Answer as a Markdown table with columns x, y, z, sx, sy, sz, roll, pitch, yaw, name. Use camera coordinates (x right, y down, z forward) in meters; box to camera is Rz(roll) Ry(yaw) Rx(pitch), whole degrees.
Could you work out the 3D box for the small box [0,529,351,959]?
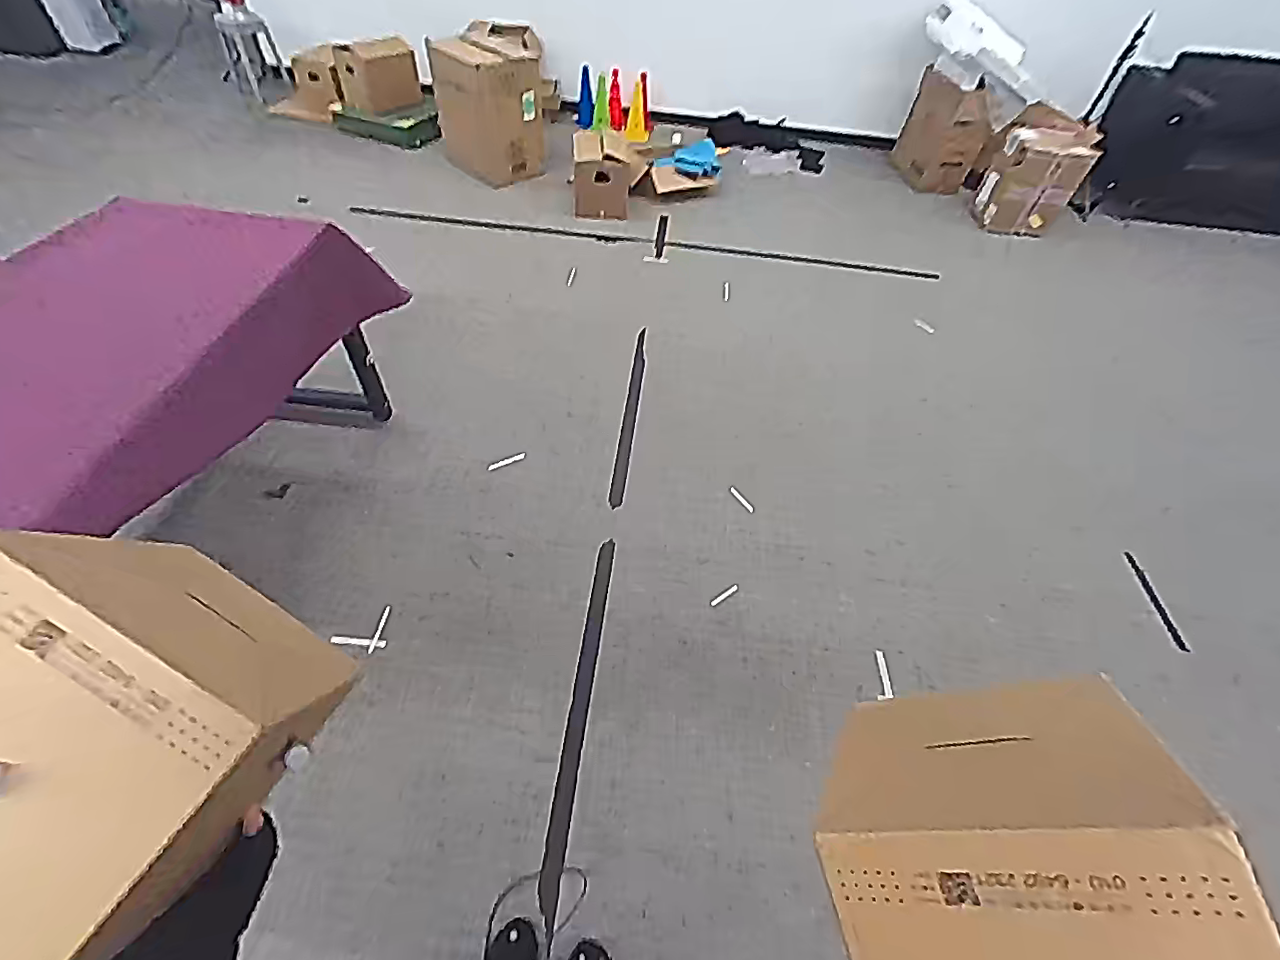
| x | y | z | sx | sy | sz | roll | pitch | yaw | name |
| --- | --- | --- | --- | --- | --- | --- | --- | --- | --- |
| -0.305 | 0.141 | 0.303 | 0.168 | 0.179 | 0.176 | 37 | 73 | -3 | small box |
